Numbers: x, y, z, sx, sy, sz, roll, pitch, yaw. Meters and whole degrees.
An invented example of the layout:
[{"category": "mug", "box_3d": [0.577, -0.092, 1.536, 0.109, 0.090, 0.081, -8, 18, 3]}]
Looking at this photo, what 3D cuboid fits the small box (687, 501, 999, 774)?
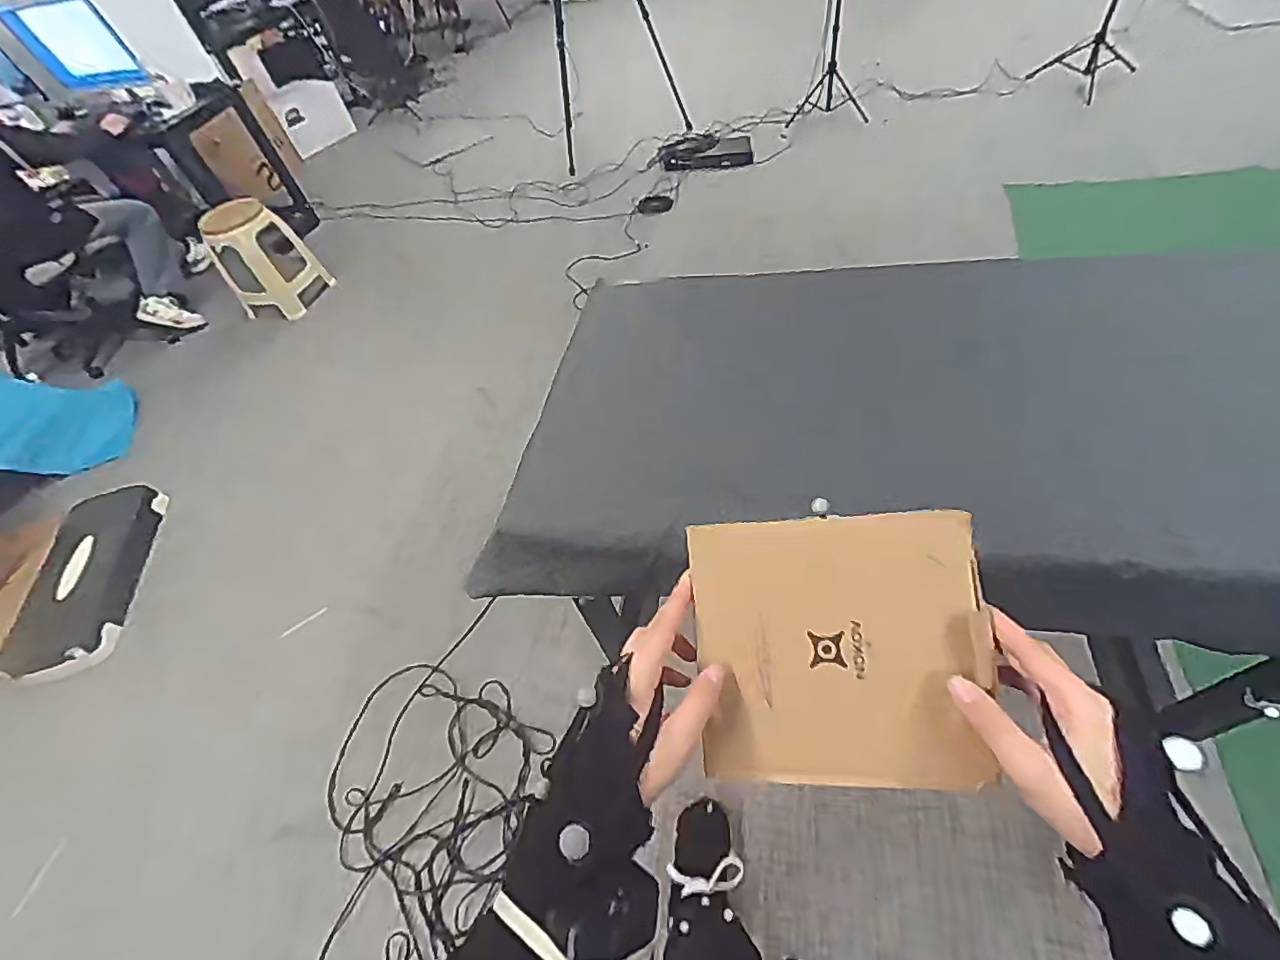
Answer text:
[{"category": "small box", "box_3d": [0.139, 0.107, 0.421, 0.179, 0.176, 0.168, -6, 83, 13]}]
